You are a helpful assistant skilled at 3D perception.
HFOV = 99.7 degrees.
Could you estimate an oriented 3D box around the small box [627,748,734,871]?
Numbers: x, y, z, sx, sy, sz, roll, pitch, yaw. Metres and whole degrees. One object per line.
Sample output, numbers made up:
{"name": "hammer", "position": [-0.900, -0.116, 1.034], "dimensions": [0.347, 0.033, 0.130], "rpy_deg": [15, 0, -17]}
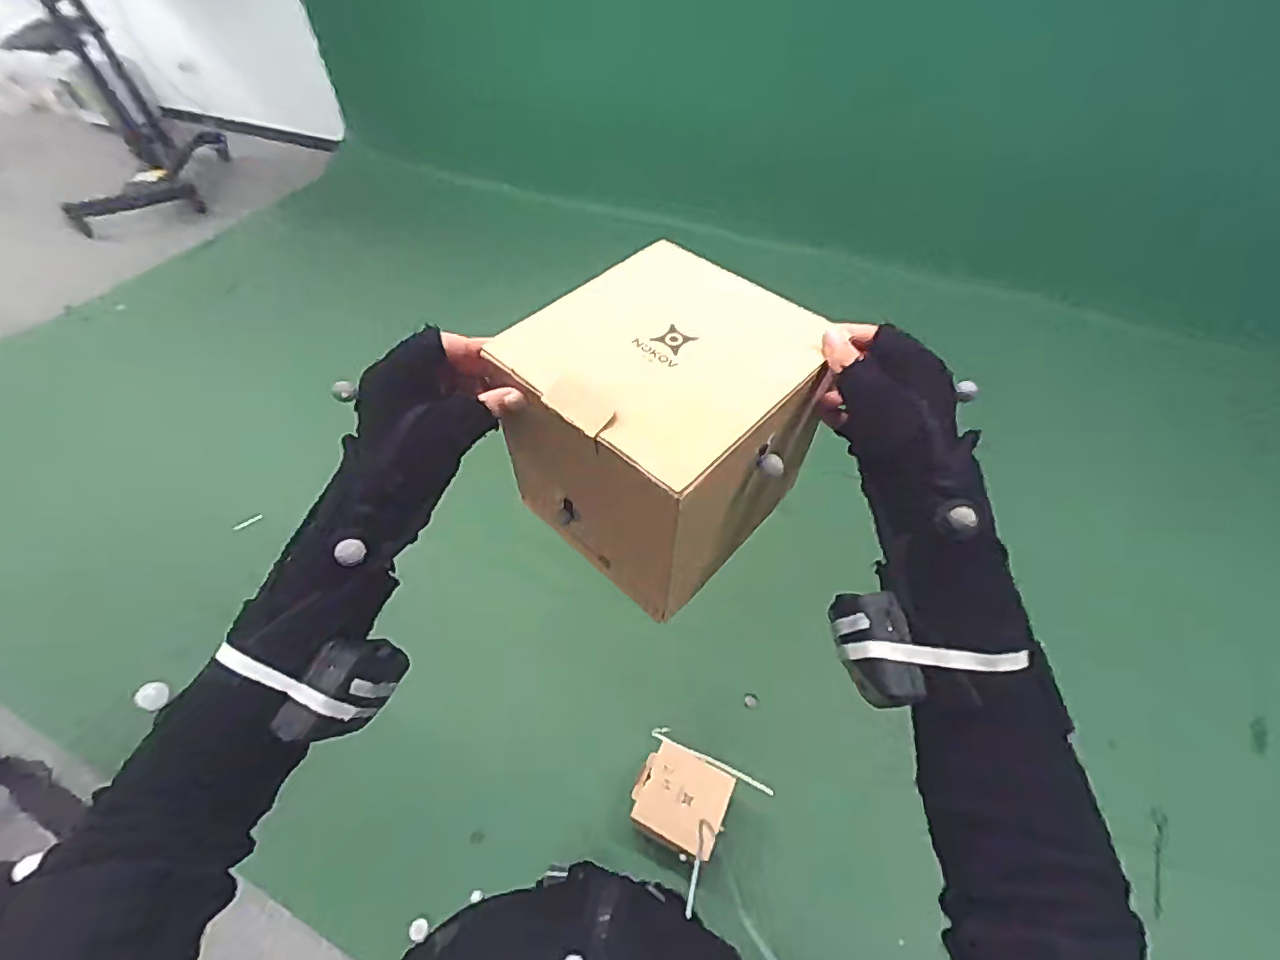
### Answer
{"name": "small box", "position": [0.086, 0.724, 1.187], "dimensions": [0.179, 0.176, 0.168], "rpy_deg": [22, 54, 16]}
